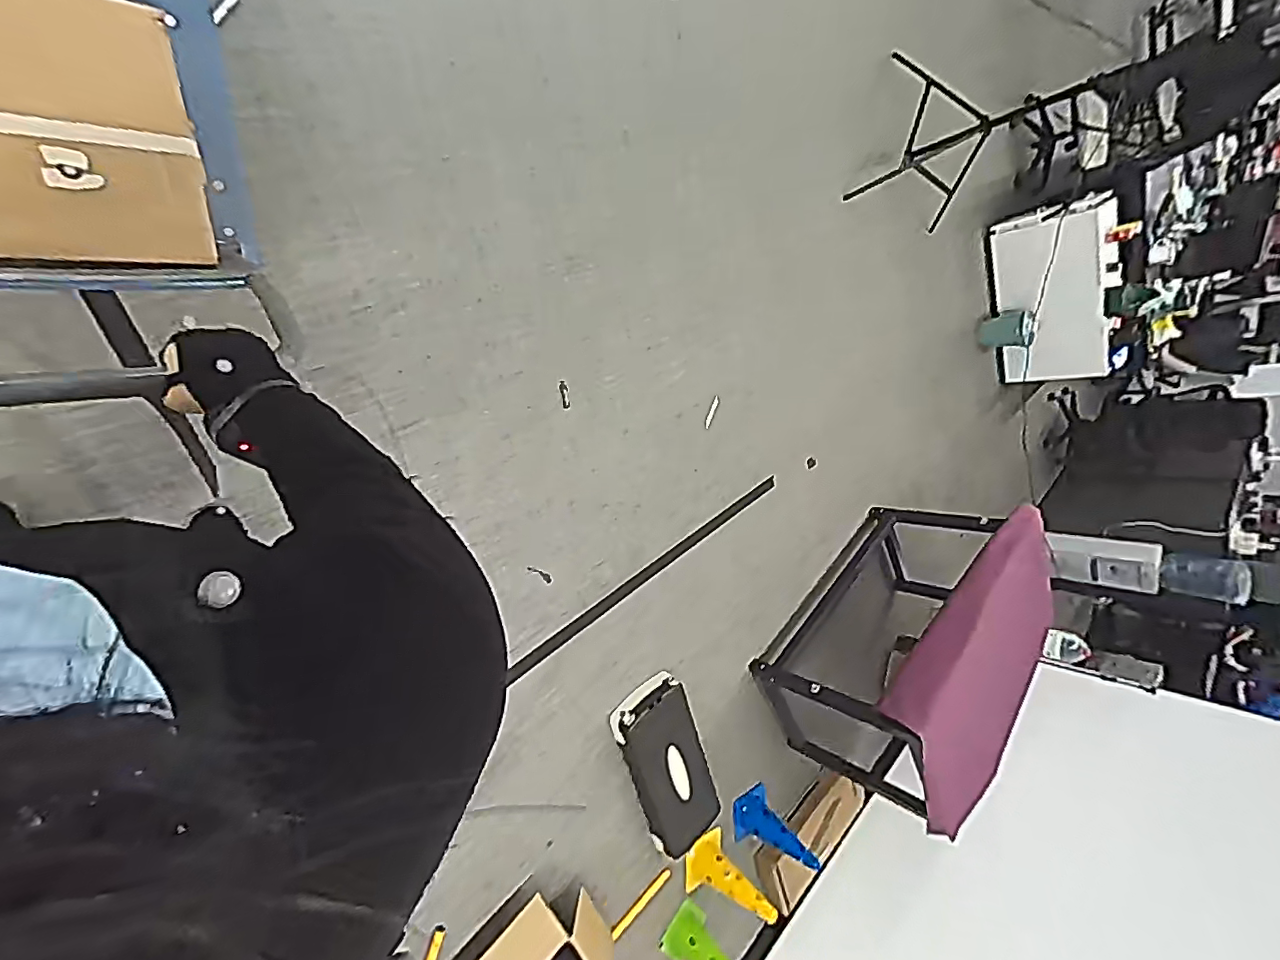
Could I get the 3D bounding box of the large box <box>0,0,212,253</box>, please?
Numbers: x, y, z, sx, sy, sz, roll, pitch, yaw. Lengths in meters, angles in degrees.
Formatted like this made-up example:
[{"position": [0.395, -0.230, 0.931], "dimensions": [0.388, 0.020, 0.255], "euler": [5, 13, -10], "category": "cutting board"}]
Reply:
[{"position": [-0.896, -0.497, 0.753], "dimensions": [0.408, 0.320, 0.320], "euler": [-15, 121, -38], "category": "large box"}]
